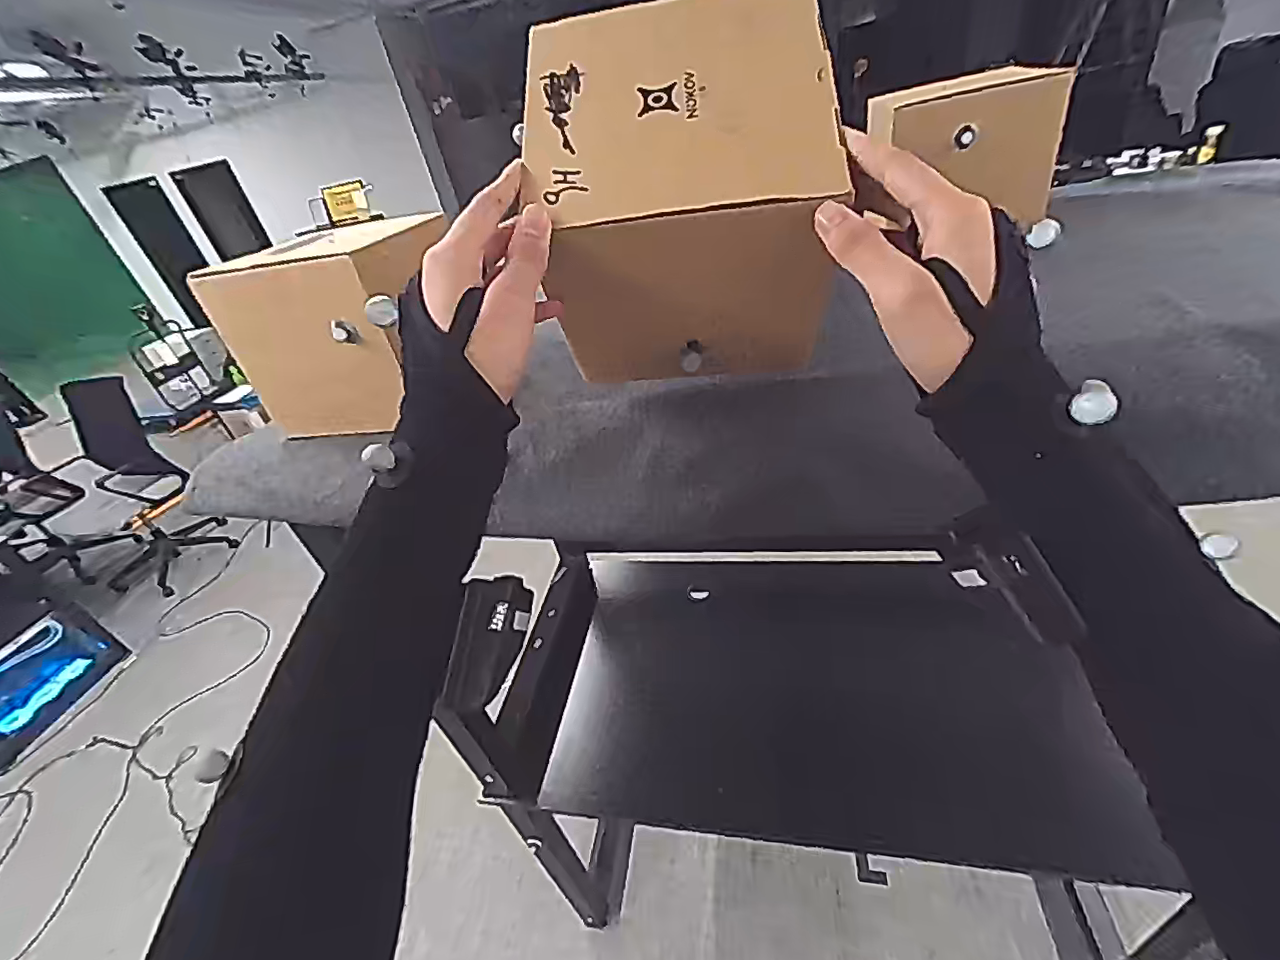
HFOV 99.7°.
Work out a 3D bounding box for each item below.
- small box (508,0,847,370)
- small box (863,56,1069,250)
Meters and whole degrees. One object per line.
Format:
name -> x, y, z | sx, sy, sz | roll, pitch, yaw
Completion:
small box -> 0.024, -0.192, 0.374 | 0.179, 0.176, 0.168 | -3, 70, 6
small box -> 0.379, -0.398, 0.670 | 0.179, 0.176, 0.168 | -3, 36, 14
